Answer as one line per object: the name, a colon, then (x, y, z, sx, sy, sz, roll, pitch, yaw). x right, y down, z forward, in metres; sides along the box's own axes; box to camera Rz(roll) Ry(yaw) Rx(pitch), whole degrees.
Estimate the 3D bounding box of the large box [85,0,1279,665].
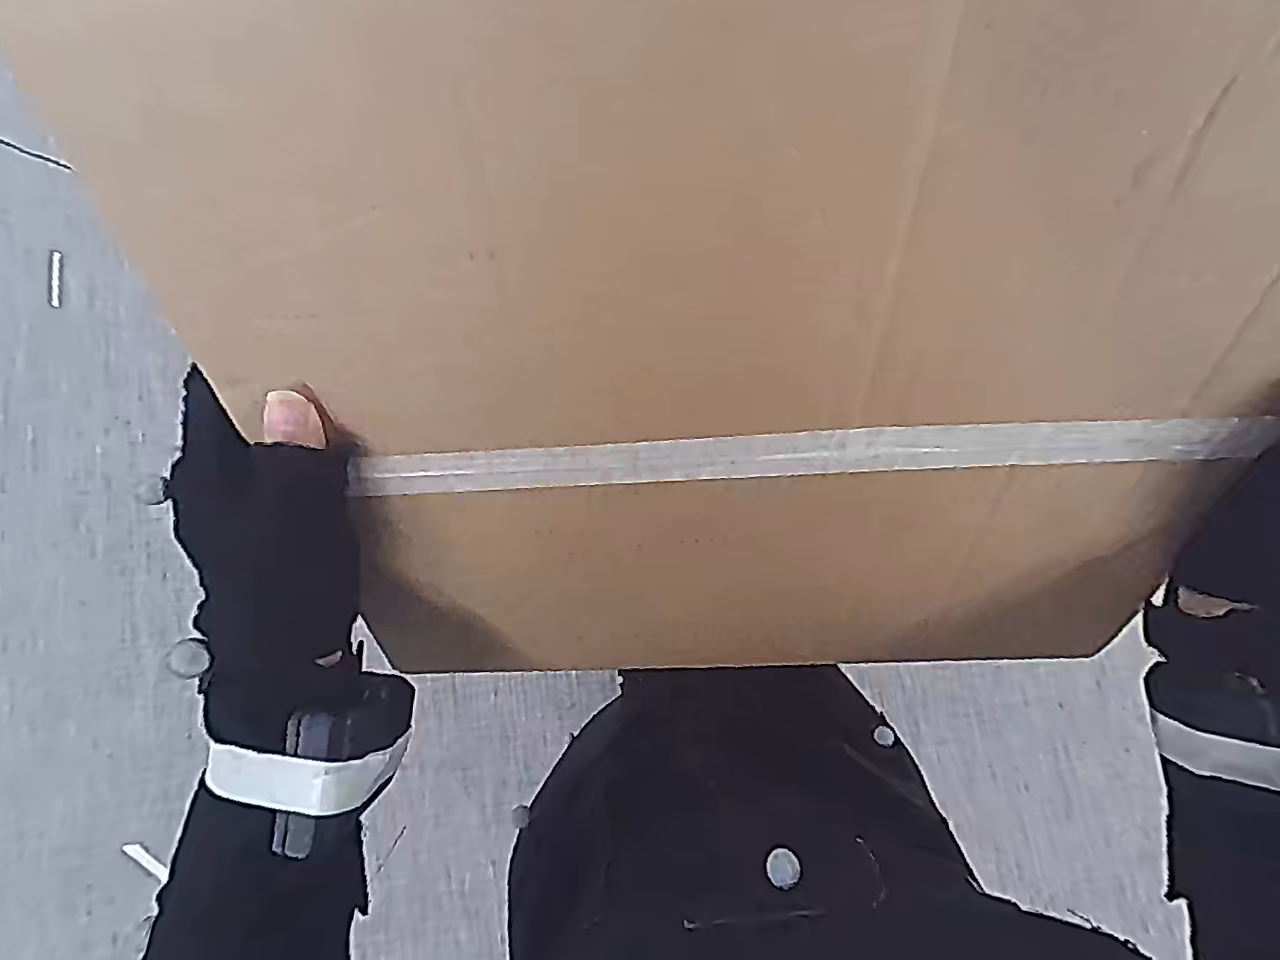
large box: (0.051, -0.107, 0.345, 0.408, 0.320, 0.320, -2, 40, 2)
